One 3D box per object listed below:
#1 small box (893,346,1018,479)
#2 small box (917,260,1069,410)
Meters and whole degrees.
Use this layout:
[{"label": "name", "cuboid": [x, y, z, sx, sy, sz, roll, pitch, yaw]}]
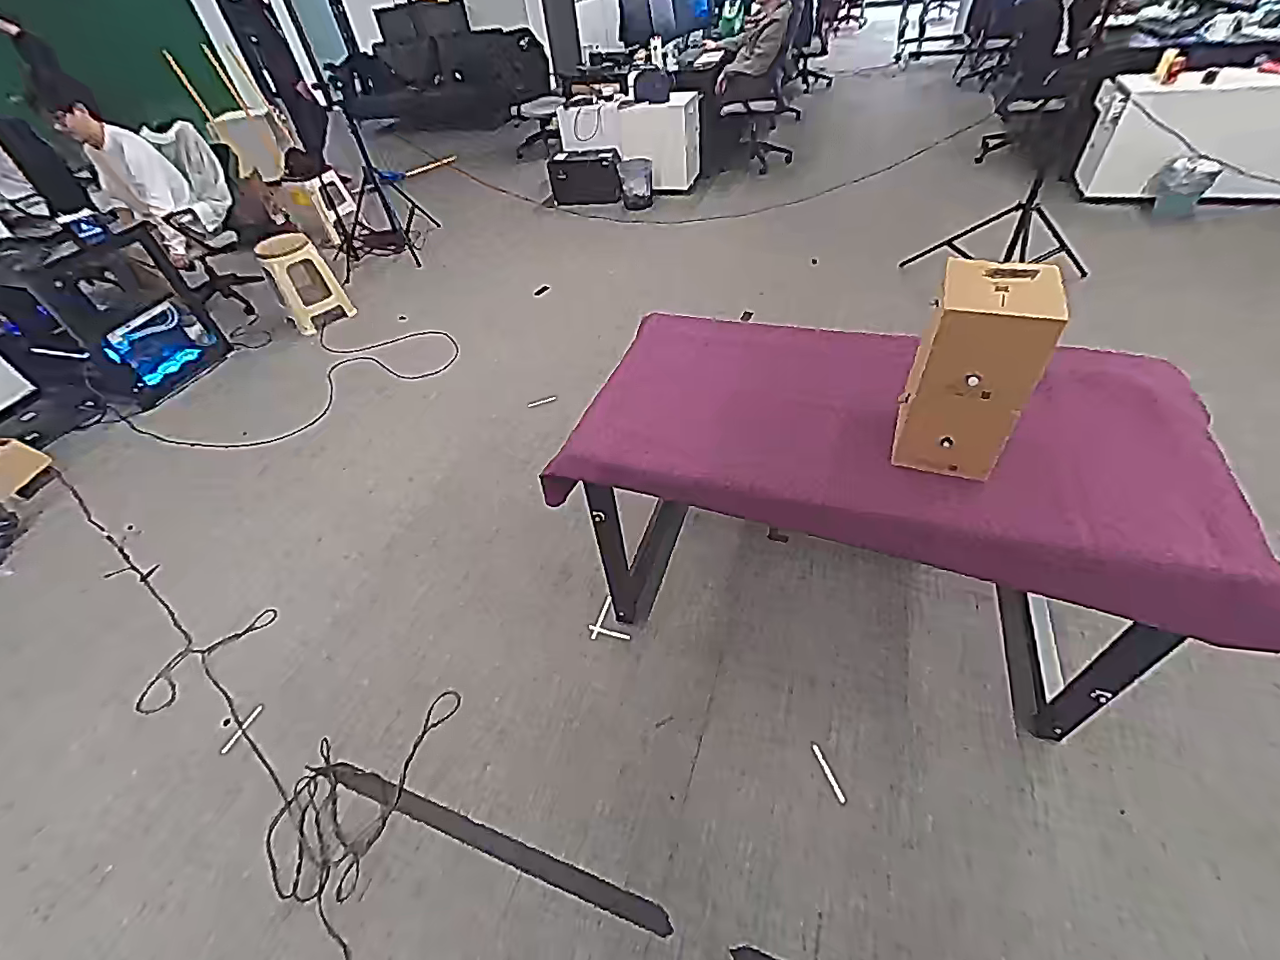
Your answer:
[{"label": "small box", "cuboid": [0.588, -0.127, 1.022, 0.168, 0.176, 0.179, 14, 49, 19]}, {"label": "small box", "cuboid": [0.577, -0.244, 0.907, 0.168, 0.176, 0.179, 13, 49, 20]}]
